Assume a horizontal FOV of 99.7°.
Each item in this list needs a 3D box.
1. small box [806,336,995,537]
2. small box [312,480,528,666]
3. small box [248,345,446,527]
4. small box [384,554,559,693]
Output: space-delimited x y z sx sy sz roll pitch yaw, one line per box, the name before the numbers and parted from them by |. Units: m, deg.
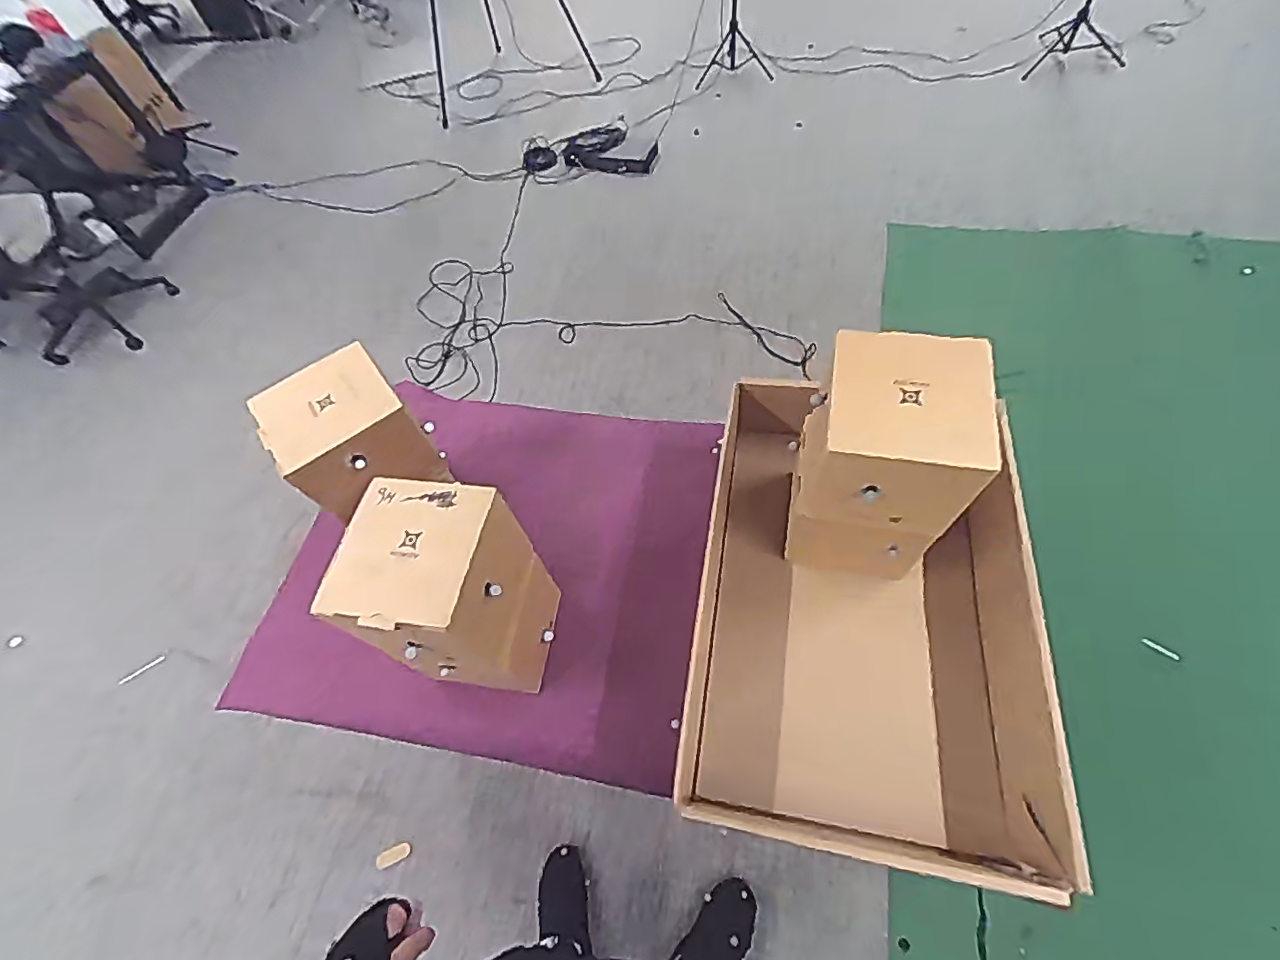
small box | 0.300 -0.047 0.654 0.168 0.176 0.179 8 61 12
small box | -0.254 0.122 0.678 0.168 0.176 0.179 5 59 9
small box | -0.426 -0.059 0.809 0.179 0.176 0.168 -35 63 -14
small box | -0.238 0.212 0.813 0.179 0.176 0.168 4 59 9
